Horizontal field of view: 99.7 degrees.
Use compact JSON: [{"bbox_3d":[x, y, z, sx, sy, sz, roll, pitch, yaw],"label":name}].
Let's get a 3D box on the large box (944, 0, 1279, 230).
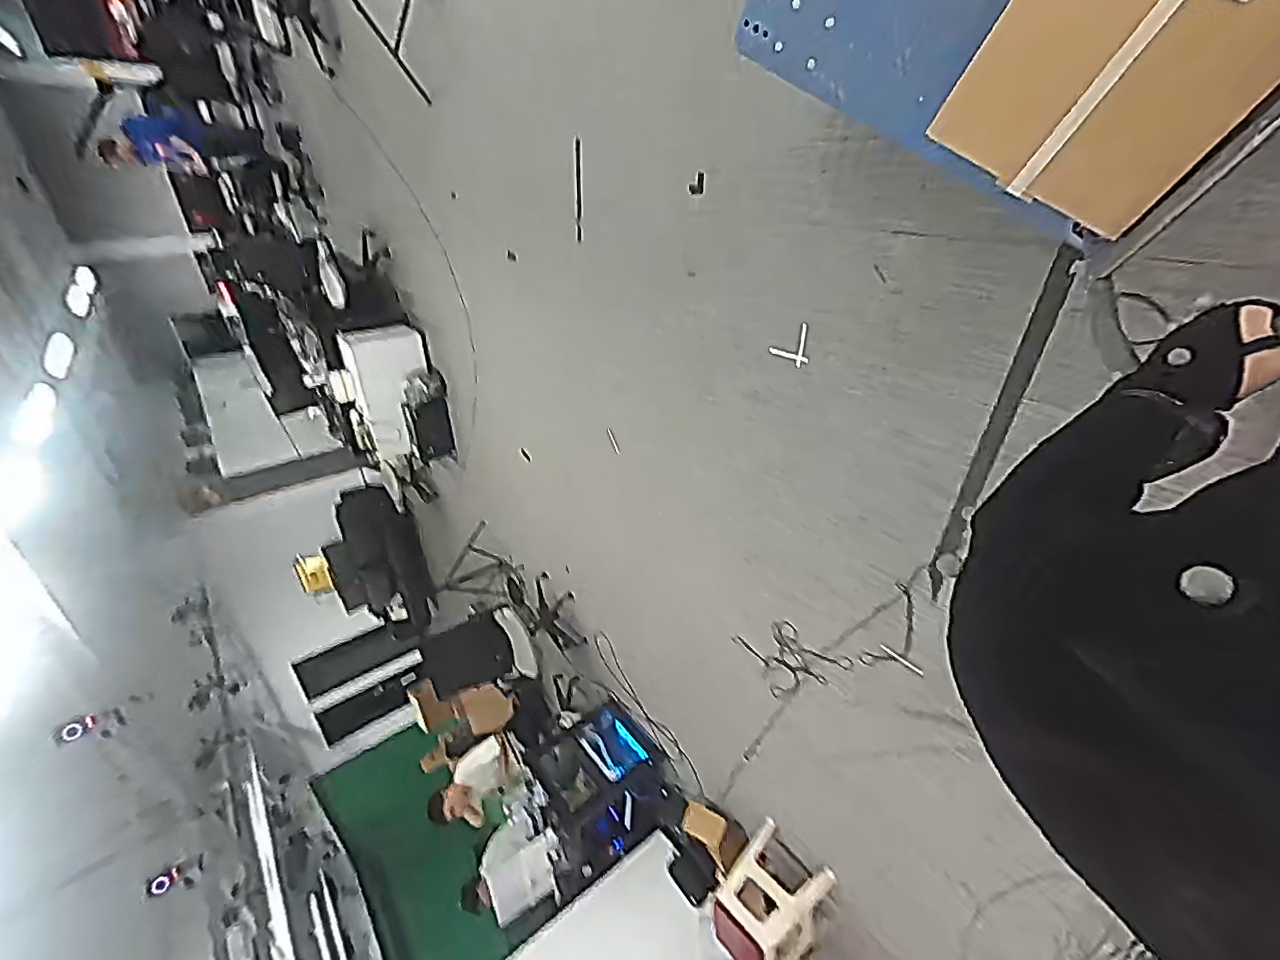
[{"bbox_3d":[0.710,-0.634,0.737,0.320,0.320,0.408,37,139,11],"label":"large box"}]
